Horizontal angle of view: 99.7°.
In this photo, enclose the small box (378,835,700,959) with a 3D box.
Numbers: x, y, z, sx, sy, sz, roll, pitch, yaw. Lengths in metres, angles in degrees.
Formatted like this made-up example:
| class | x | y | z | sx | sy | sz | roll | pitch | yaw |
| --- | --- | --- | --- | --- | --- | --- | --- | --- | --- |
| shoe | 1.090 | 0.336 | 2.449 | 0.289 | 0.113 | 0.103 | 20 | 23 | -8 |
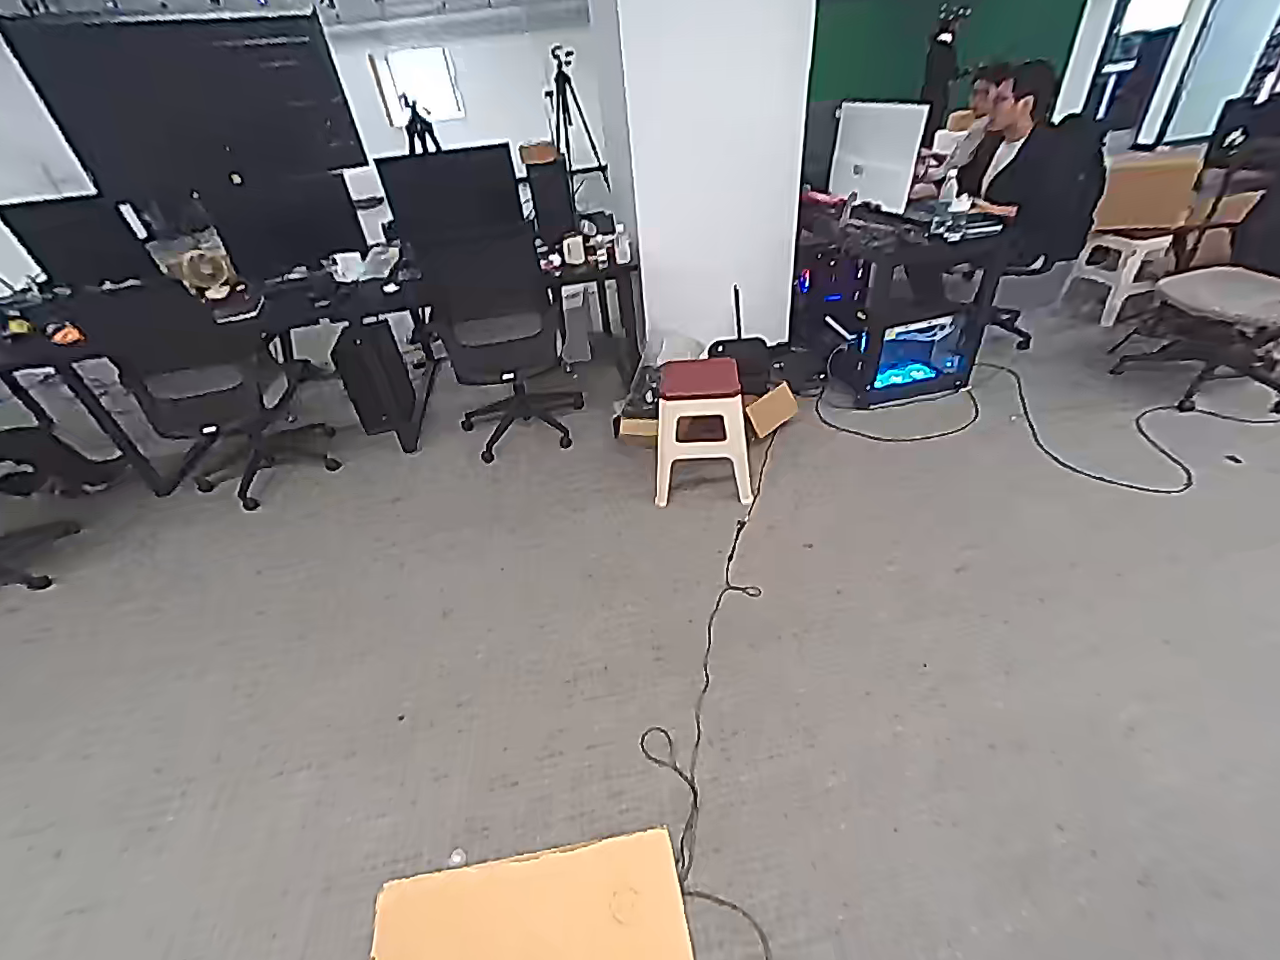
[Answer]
| class | x | y | z | sx | sy | sz | roll | pitch | yaw |
| --- | --- | --- | --- | --- | --- | --- | --- | --- | --- |
| small box | -0.053 | 0.342 | 0.332 | 0.179 | 0.176 | 0.168 | -6 | 48 | -10 |
